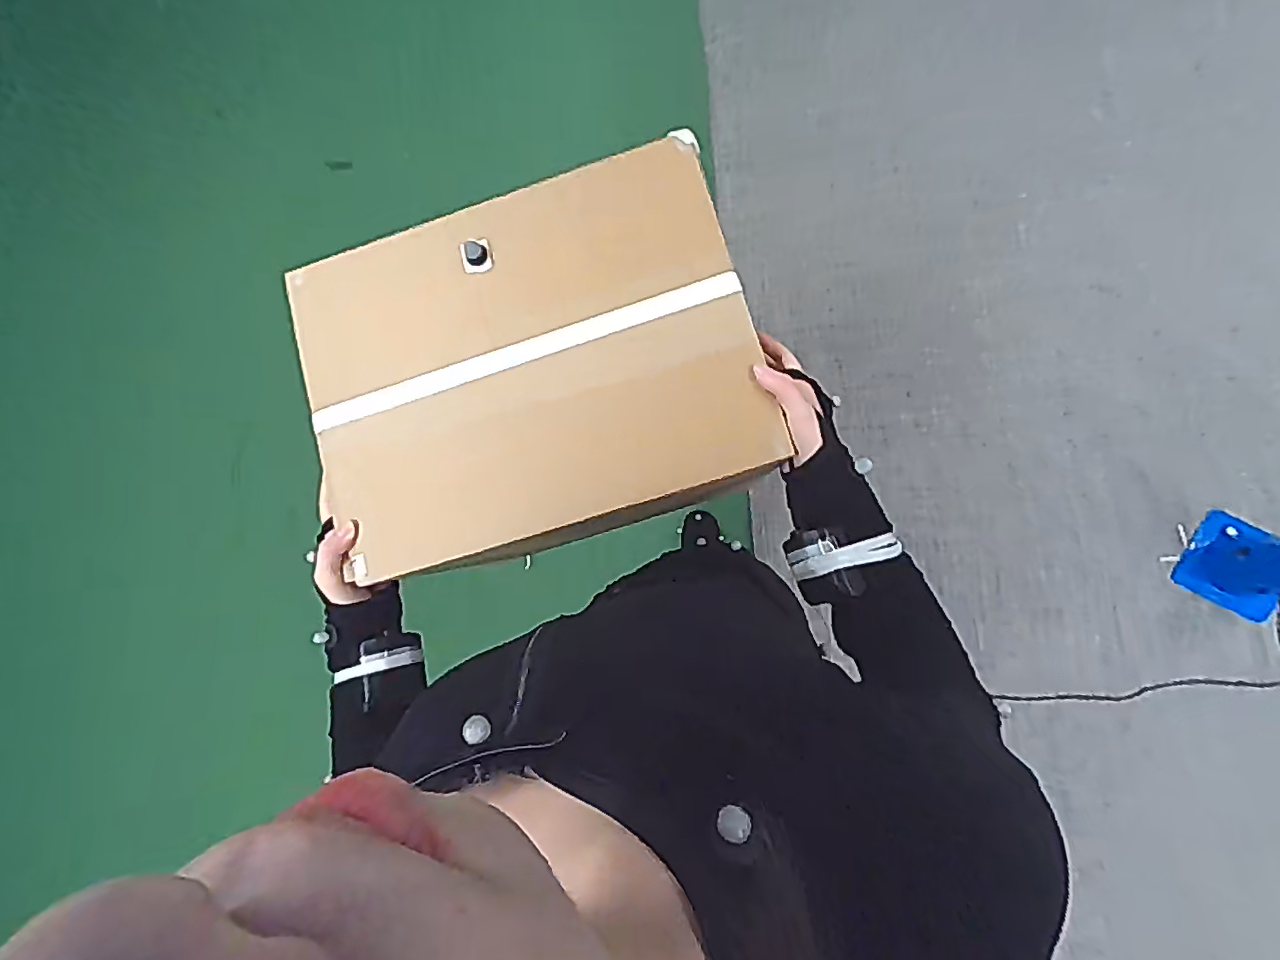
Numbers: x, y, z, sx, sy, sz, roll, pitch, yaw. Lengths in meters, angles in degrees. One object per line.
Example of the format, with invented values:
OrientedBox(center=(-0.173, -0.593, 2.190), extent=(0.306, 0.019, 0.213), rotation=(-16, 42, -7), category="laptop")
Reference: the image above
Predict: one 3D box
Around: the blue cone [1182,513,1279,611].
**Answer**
OrientedBox(center=(1.336, 0.166, 1.076), extent=(0.193, 0.380, 0.192), rotation=(28, 89, 14), category="blue cone")
